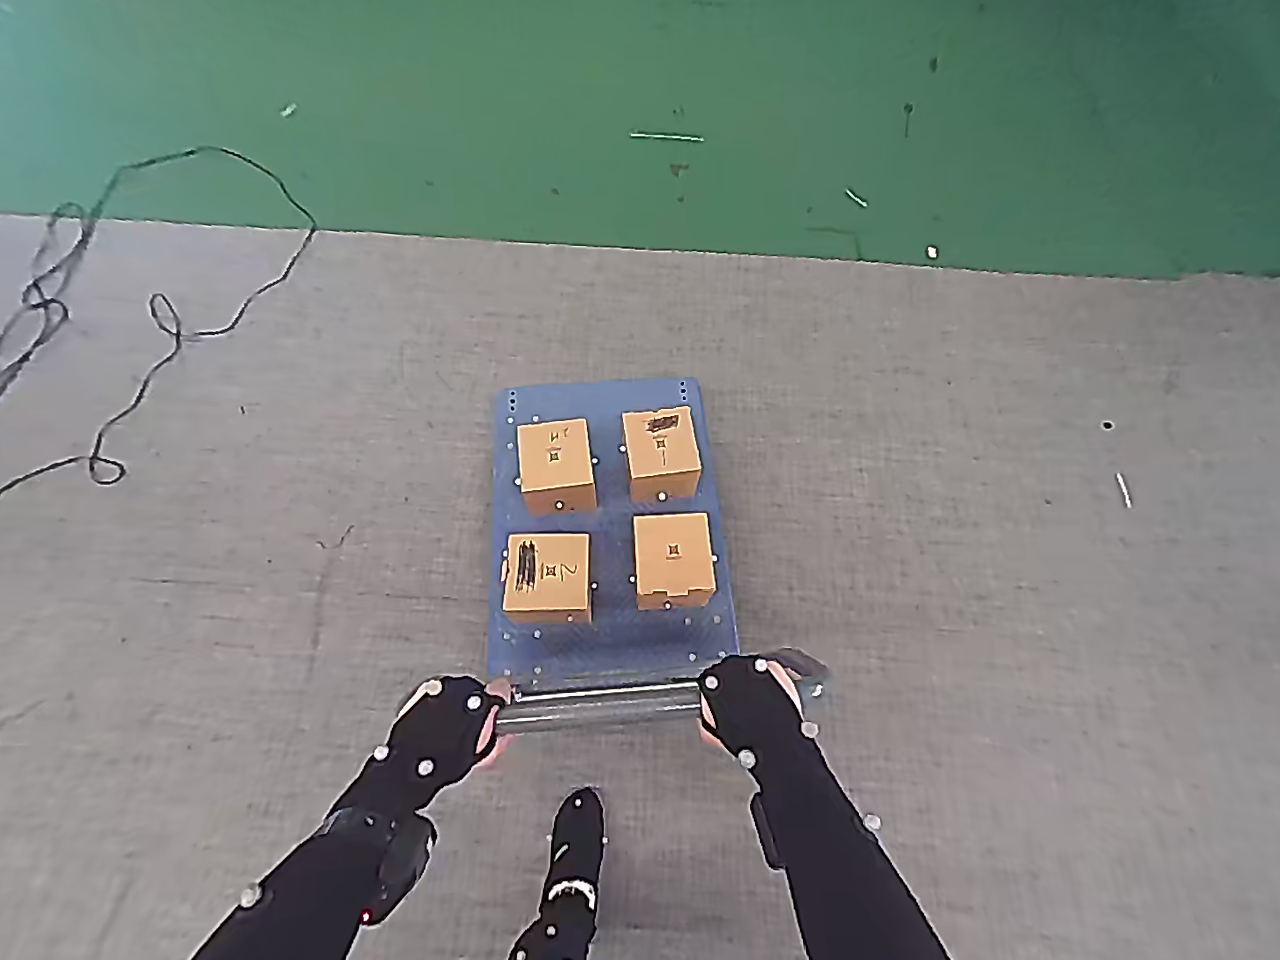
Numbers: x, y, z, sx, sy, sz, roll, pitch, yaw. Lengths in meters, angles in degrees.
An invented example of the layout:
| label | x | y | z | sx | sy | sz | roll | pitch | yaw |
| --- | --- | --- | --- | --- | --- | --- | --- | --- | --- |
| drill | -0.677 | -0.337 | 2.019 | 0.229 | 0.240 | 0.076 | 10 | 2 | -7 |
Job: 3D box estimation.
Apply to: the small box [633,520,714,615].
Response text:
| label | x | y | z | sx | sy | sz | roll | pitch | yaw |
| --- | --- | --- | --- | --- | --- | --- | --- | --- | --- |
| small box | 0.071 | 0.206 | 1.257 | 0.168 | 0.176 | 0.179 | -3 | 66 | -3 |

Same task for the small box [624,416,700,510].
| label | x | y | z | sx | sy | sz | roll | pitch | yaw |
| --- | --- | --- | --- | --- | --- | --- | --- | --- | --- |
| small box | 0.047 | -0.040 | 1.369 | 0.168 | 0.176 | 0.179 | -7 | 66 | -4 |

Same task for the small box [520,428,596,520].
| label | x | y | z | sx | sy | sz | roll | pitch | yaw |
| --- | --- | --- | --- | --- | --- | --- | --- | --- | --- |
| small box | -0.201 | -0.007 | 1.348 | 0.168 | 0.176 | 0.179 | -7 | 65 | -5 |
